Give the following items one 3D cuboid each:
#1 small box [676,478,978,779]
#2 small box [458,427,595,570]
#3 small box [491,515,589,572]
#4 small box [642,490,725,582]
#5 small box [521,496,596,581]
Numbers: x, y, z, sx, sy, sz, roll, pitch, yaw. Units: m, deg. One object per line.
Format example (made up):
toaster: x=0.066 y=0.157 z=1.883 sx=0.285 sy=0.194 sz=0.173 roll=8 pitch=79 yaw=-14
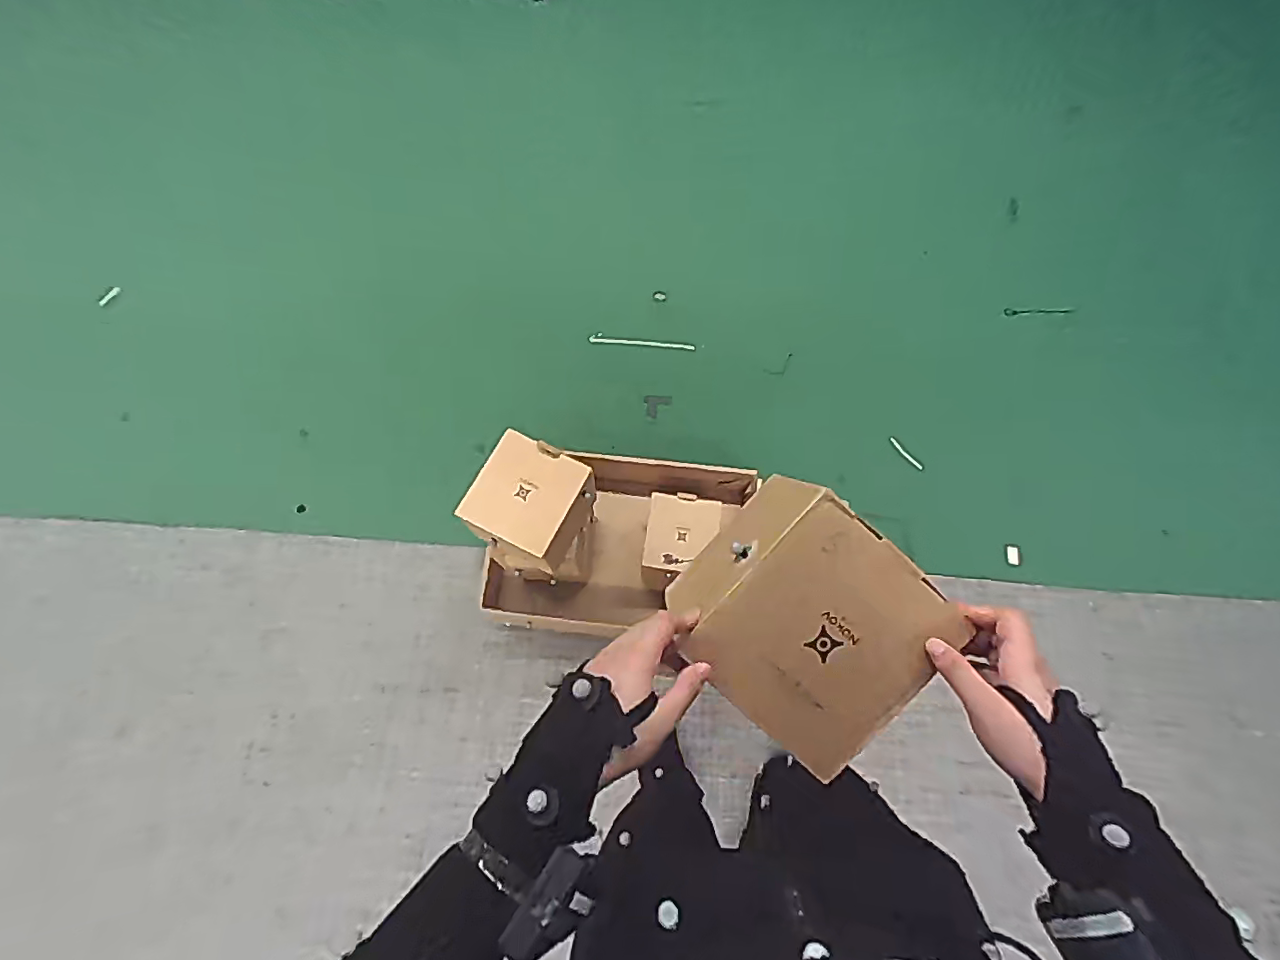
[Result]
small box: x=0.147 y=0.114 z=0.498 sx=0.168 sy=0.176 sz=0.179 roll=43 pitch=94 yaw=-3
small box: x=-0.188 y=0.042 z=0.961 sx=0.168 sy=0.176 sz=0.179 roll=26 pitch=71 yaw=7
small box: x=-0.195 y=0.088 z=1.117 sx=0.168 sy=0.176 sz=0.179 roll=5 pitch=70 yaw=-1
small box: x=0.098 y=0.142 z=1.283 sx=0.168 sy=0.176 sz=0.179 roll=9 pitch=71 yaw=2
small box: x=-0.194 y=0.133 z=1.275 sx=0.168 sy=0.176 sz=0.179 roll=4 pitch=71 yaw=-1
